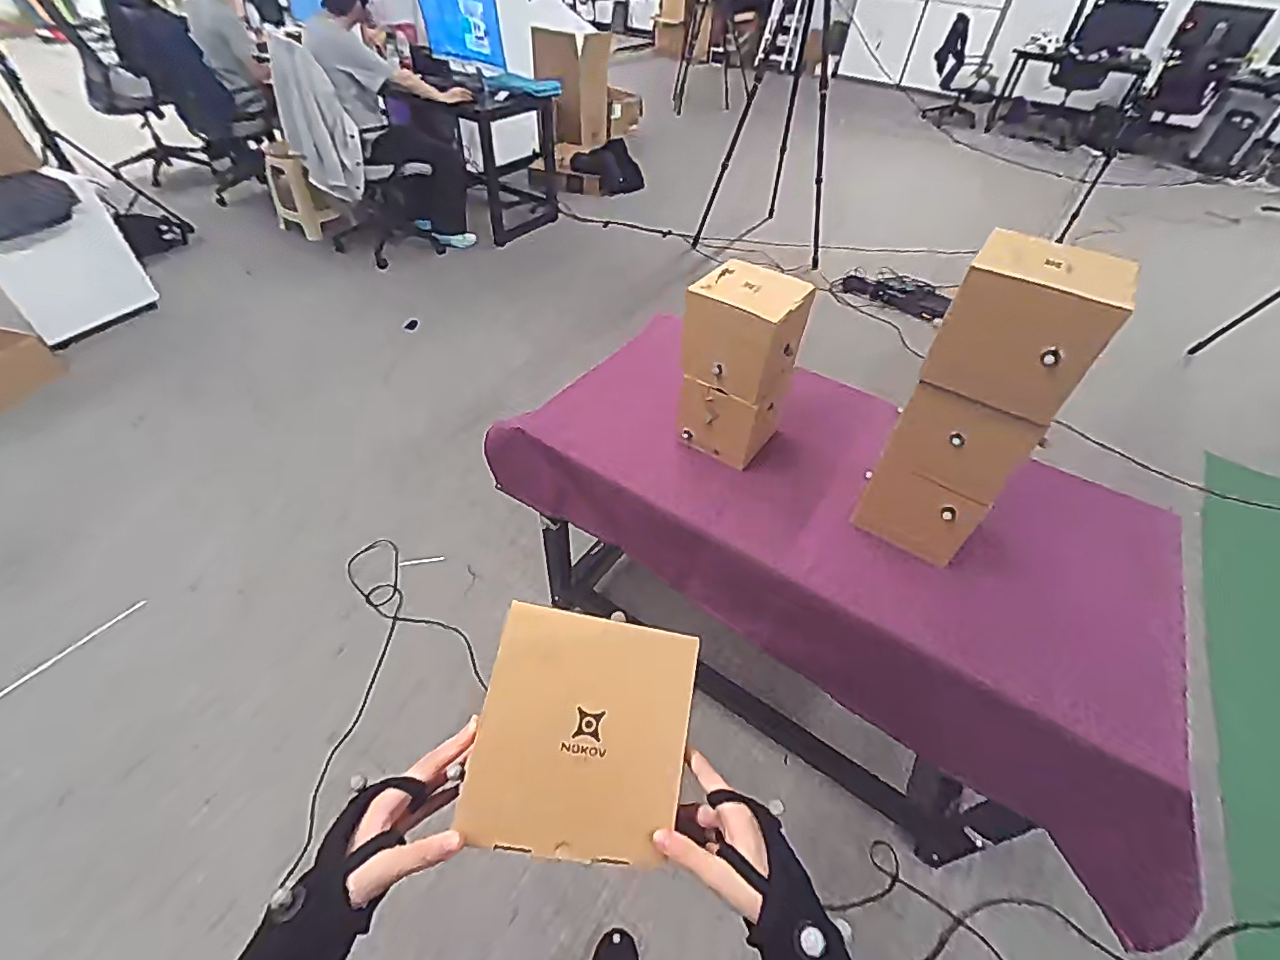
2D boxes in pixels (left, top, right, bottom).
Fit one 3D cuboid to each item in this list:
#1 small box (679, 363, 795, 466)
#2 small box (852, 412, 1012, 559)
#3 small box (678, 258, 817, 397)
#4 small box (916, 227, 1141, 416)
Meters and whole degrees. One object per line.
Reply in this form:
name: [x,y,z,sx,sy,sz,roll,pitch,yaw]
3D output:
small box: [0.192,-0.159,1.112,0.168,0.176,0.179,29,51,21]
small box: [0.513,0.016,0.965,0.179,0.176,0.168,30,51,22]
small box: [0.191,-0.277,0.996,0.179,0.176,0.168,30,51,22]
small box: [0.511,-0.209,0.726,0.179,0.176,0.168,29,51,23]
